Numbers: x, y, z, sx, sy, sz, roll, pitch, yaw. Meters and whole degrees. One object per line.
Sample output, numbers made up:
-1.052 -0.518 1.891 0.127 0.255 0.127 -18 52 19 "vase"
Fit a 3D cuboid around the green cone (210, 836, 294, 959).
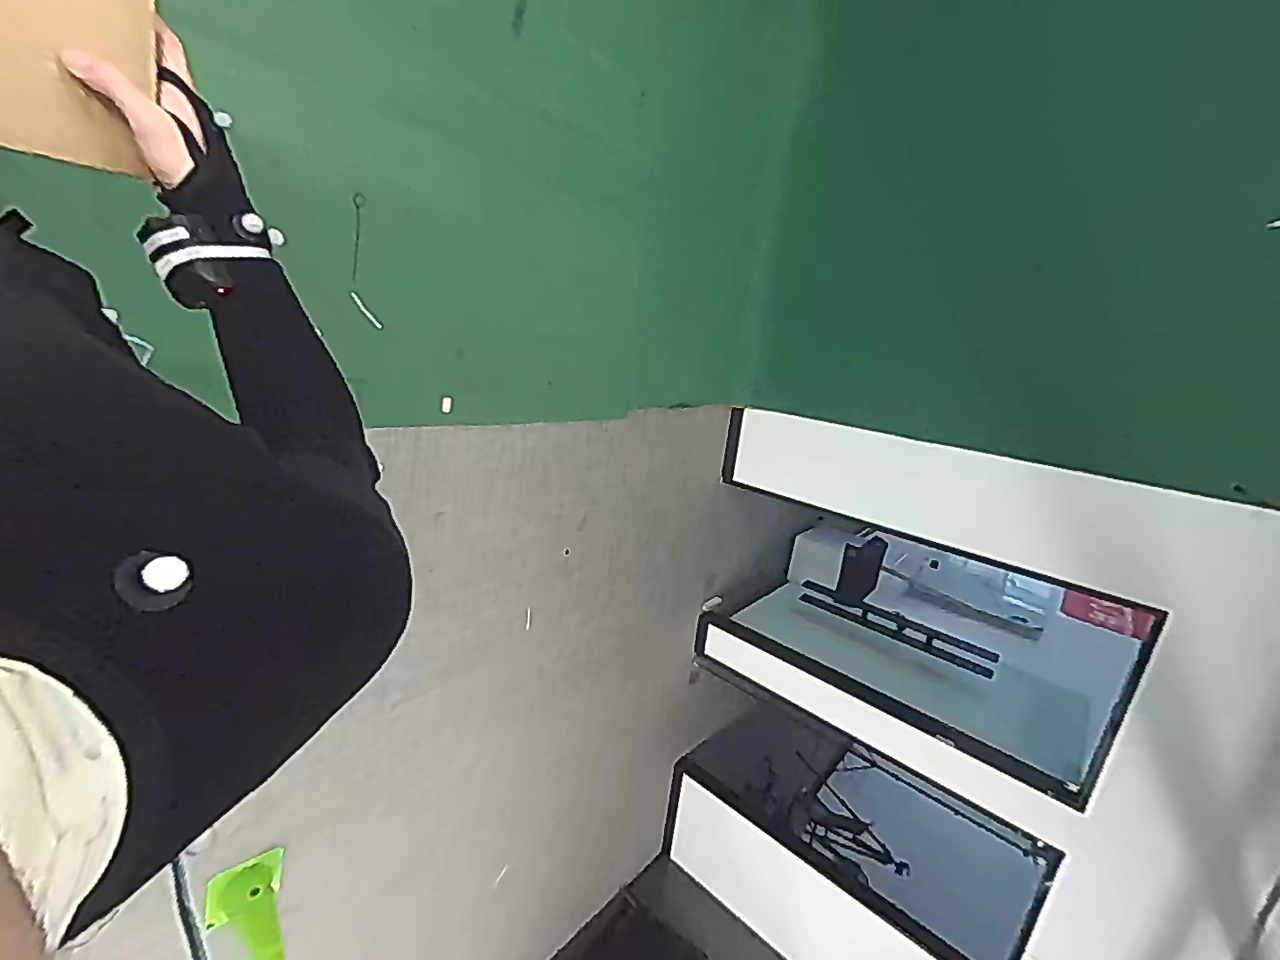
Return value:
-1.136 1.323 1.646 0.200 0.368 0.202 -2 106 -51 "green cone"
